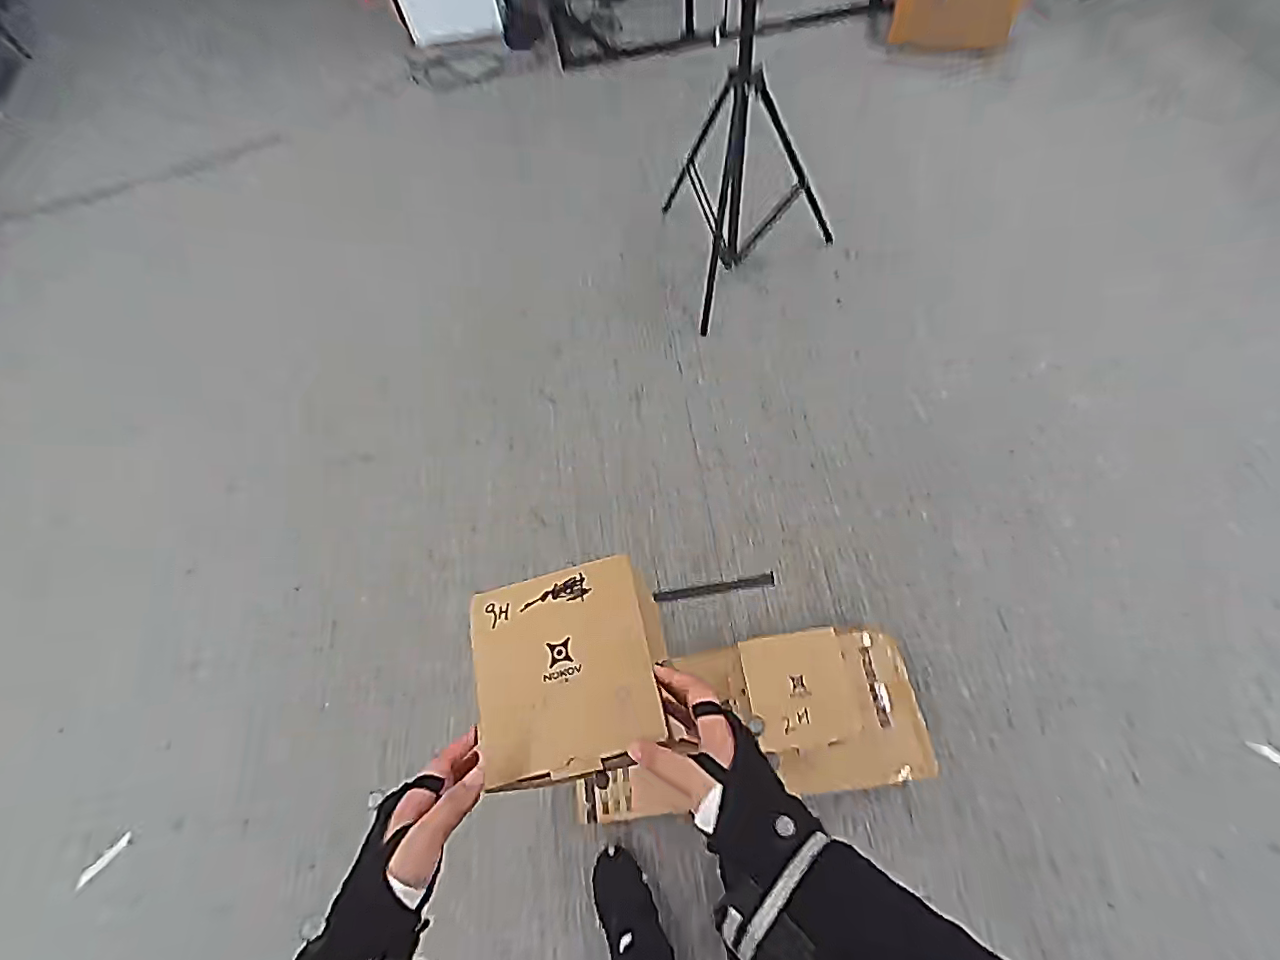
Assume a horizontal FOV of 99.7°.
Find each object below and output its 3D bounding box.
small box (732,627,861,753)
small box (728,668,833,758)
[{"bbox_3d":[0.261,0.373,0.950,0.168,0.176,0.179,-10,63,2],"label":"small box"},{"bbox_3d":[0.273,0.460,1.092,0.168,0.176,0.179,-6,64,4],"label":"small box"}]
